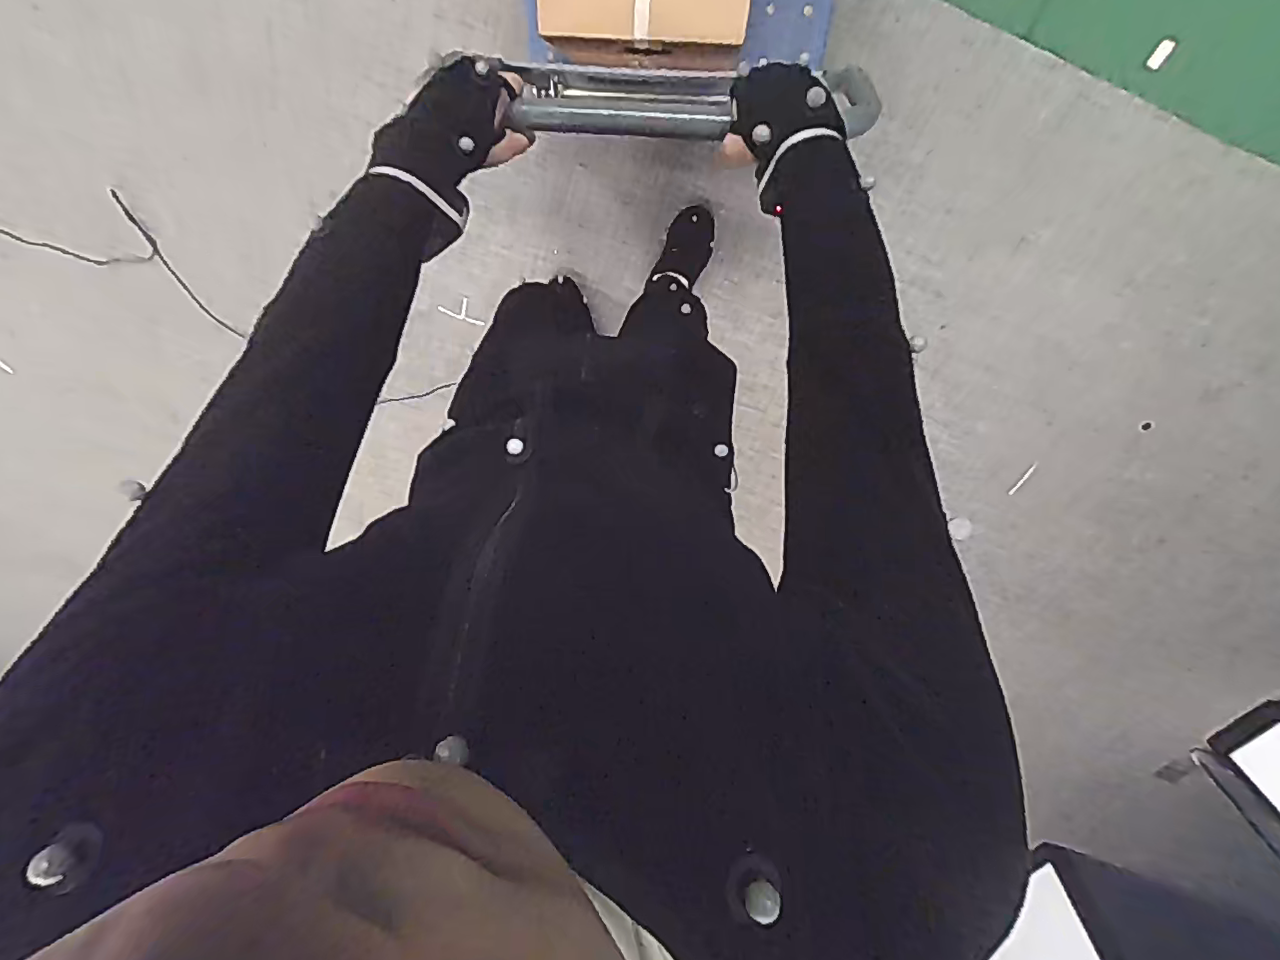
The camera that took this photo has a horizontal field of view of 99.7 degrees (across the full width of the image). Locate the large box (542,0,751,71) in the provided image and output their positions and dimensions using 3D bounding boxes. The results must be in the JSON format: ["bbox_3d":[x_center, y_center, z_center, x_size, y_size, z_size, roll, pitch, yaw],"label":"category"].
[{"bbox_3d":[0.028,-0.915,0.851,0.320,0.320,0.408,5,120,3],"label":"large box"}]
